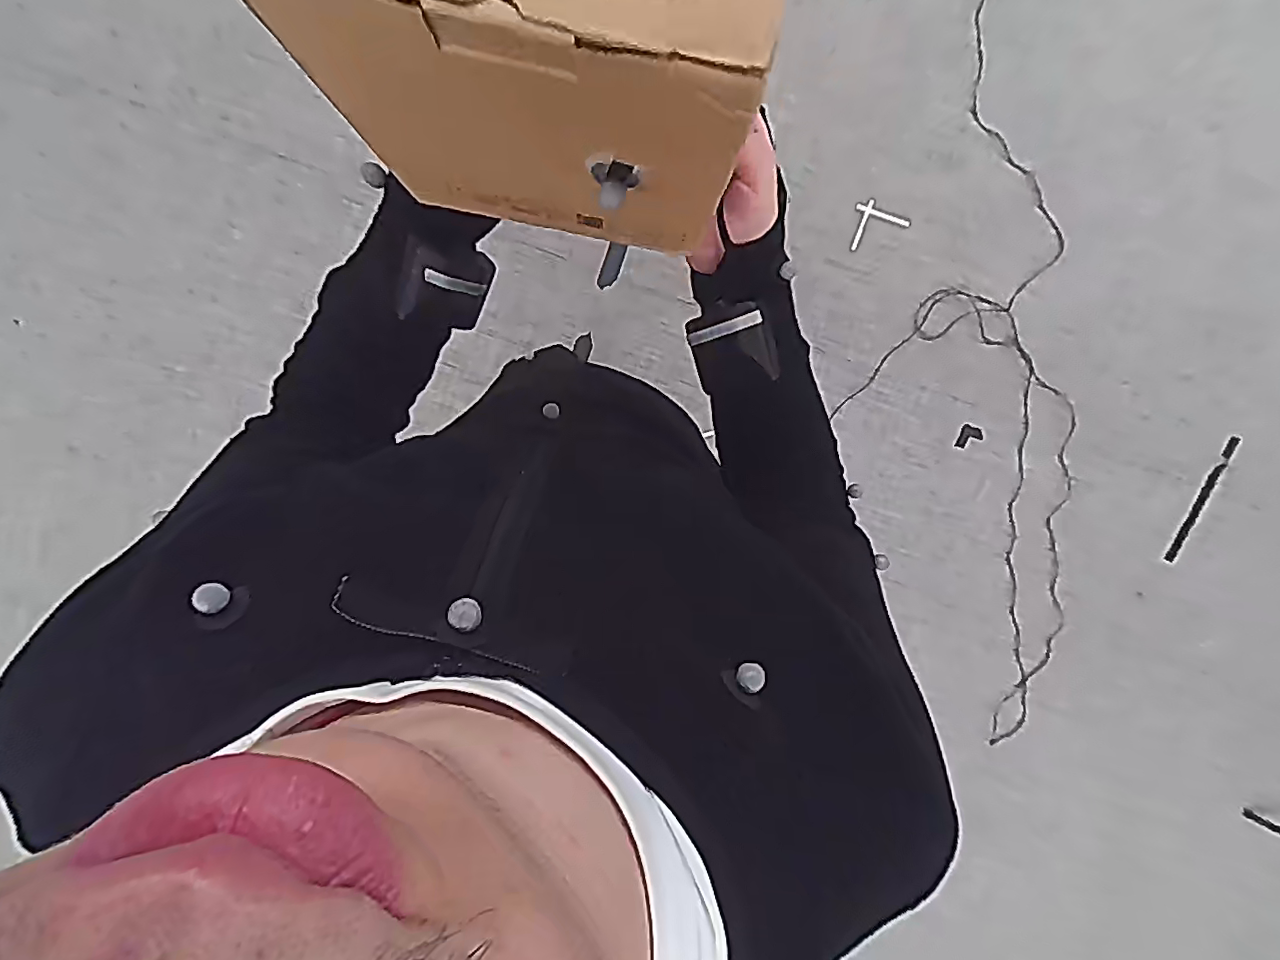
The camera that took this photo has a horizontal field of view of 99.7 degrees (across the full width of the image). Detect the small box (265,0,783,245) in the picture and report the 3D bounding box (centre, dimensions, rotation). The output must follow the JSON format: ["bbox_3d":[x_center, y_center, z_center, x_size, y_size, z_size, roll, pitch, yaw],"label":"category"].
[{"bbox_3d":[-0.028,-0.227,0.239,0.168,0.176,0.179,10,95,-5],"label":"small box"}]
